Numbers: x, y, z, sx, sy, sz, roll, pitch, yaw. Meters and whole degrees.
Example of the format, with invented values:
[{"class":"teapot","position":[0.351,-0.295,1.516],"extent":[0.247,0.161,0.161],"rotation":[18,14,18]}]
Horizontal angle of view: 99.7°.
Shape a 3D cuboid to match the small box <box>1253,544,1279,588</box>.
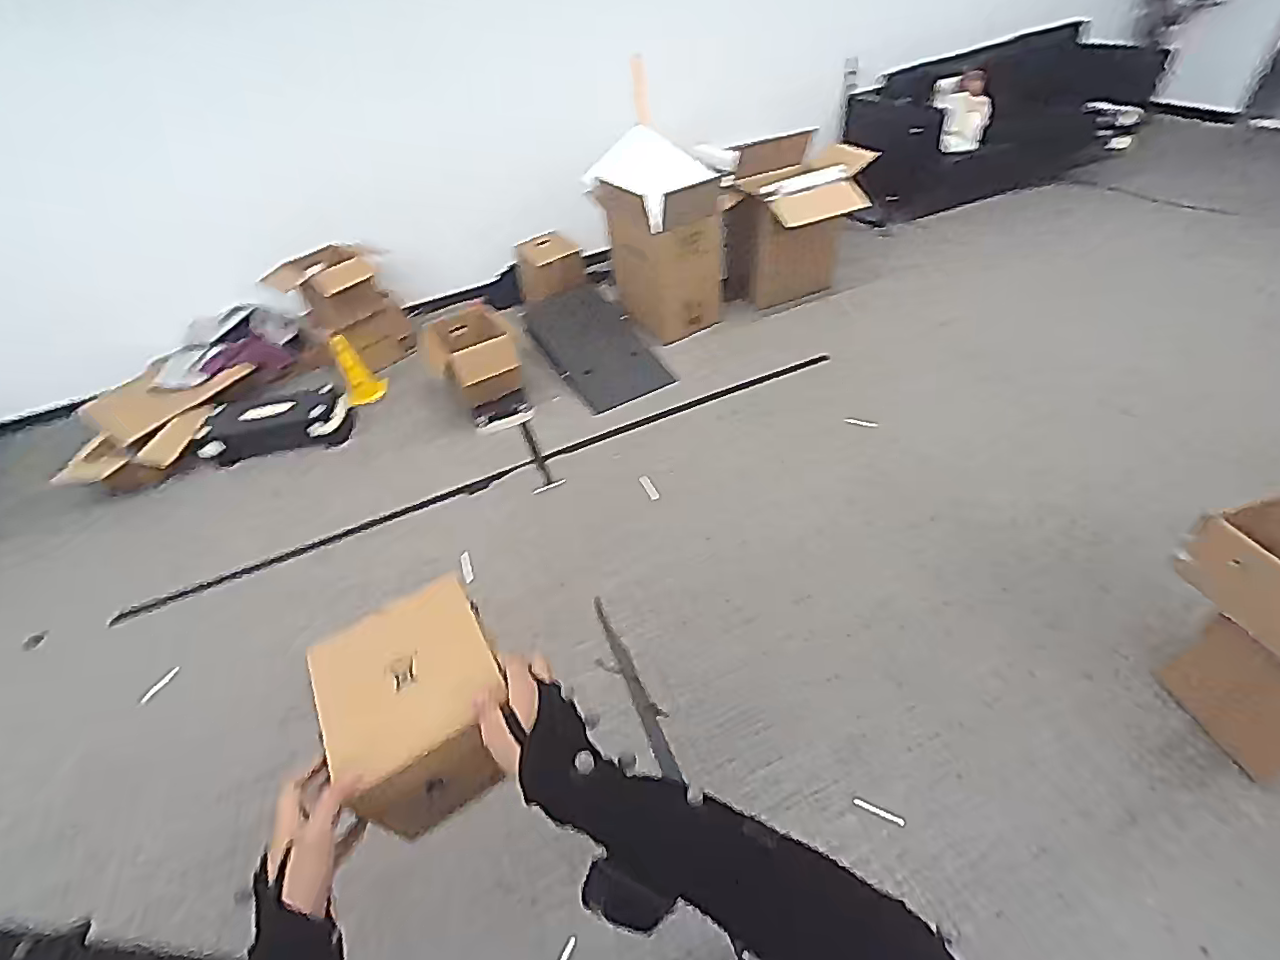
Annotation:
[{"class":"small box","position":[1.551,0.189,1.192],"extent":[0.168,0.176,0.179],"rotation":[-17,45,-8]}]
